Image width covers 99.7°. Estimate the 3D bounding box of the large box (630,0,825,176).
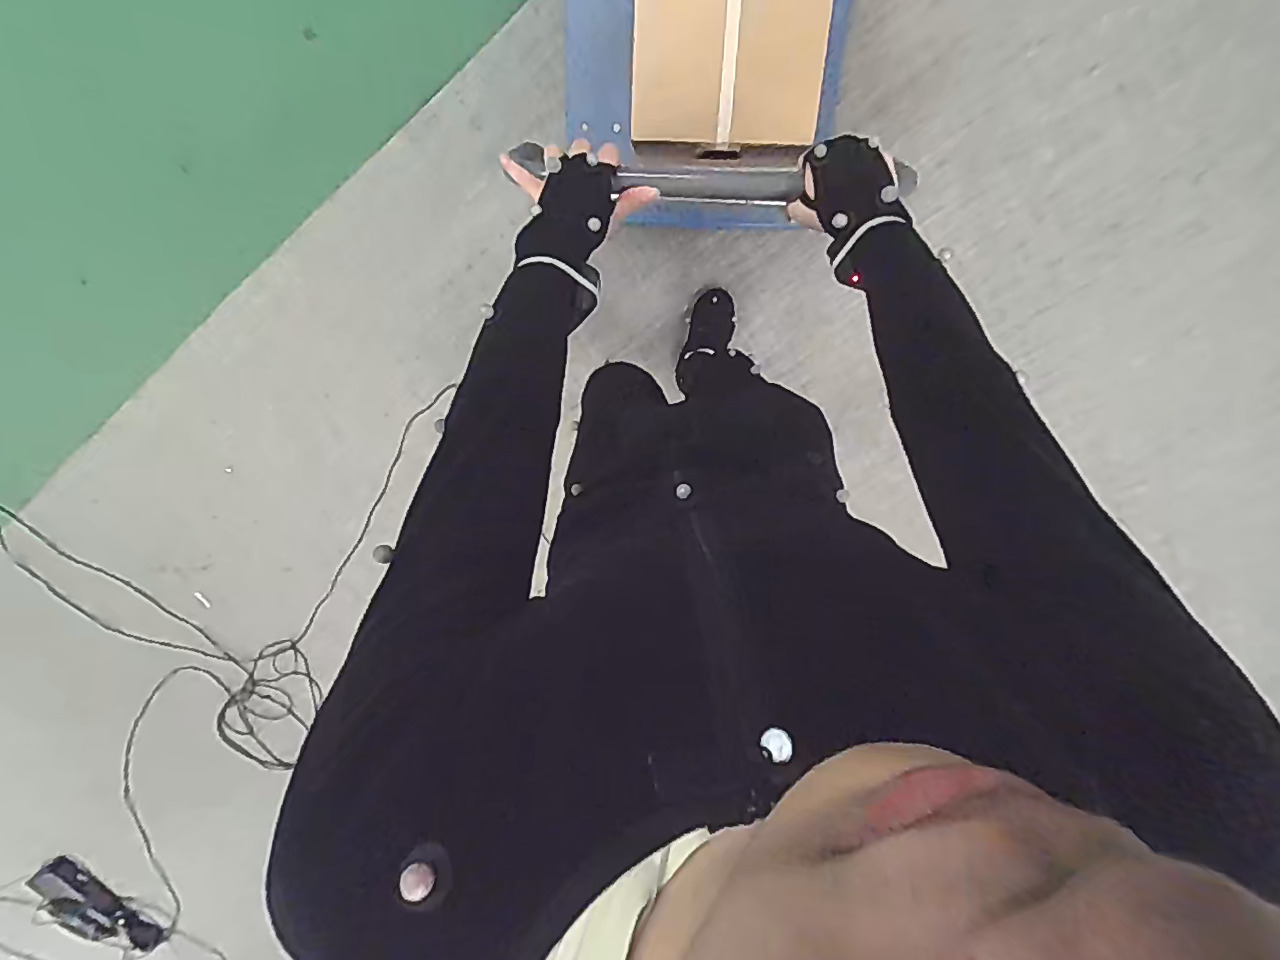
[{"bbox_3d":[0.155,-0.822,1.011,0.320,0.320,0.408,4,109,3],"label":"large box"}]
